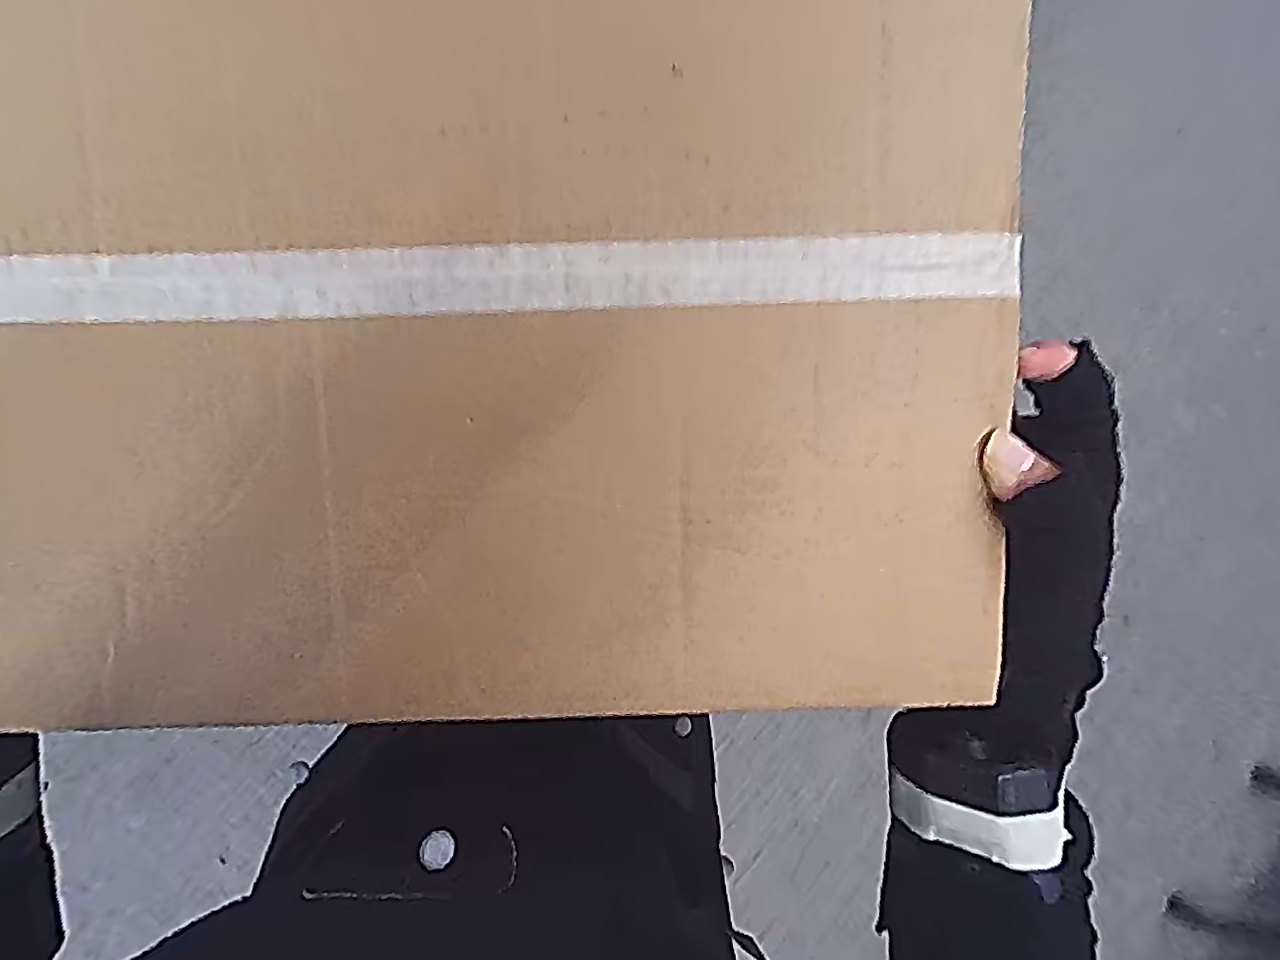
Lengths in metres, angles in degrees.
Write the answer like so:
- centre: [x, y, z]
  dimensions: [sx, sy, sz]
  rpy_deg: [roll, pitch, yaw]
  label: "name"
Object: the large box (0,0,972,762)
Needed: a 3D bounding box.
- centre: [-0.082, -0.070, 0.340]
  dimensions: [0.408, 0.320, 0.320]
  rpy_deg: [-3, 95, -1]
  label: "large box"
